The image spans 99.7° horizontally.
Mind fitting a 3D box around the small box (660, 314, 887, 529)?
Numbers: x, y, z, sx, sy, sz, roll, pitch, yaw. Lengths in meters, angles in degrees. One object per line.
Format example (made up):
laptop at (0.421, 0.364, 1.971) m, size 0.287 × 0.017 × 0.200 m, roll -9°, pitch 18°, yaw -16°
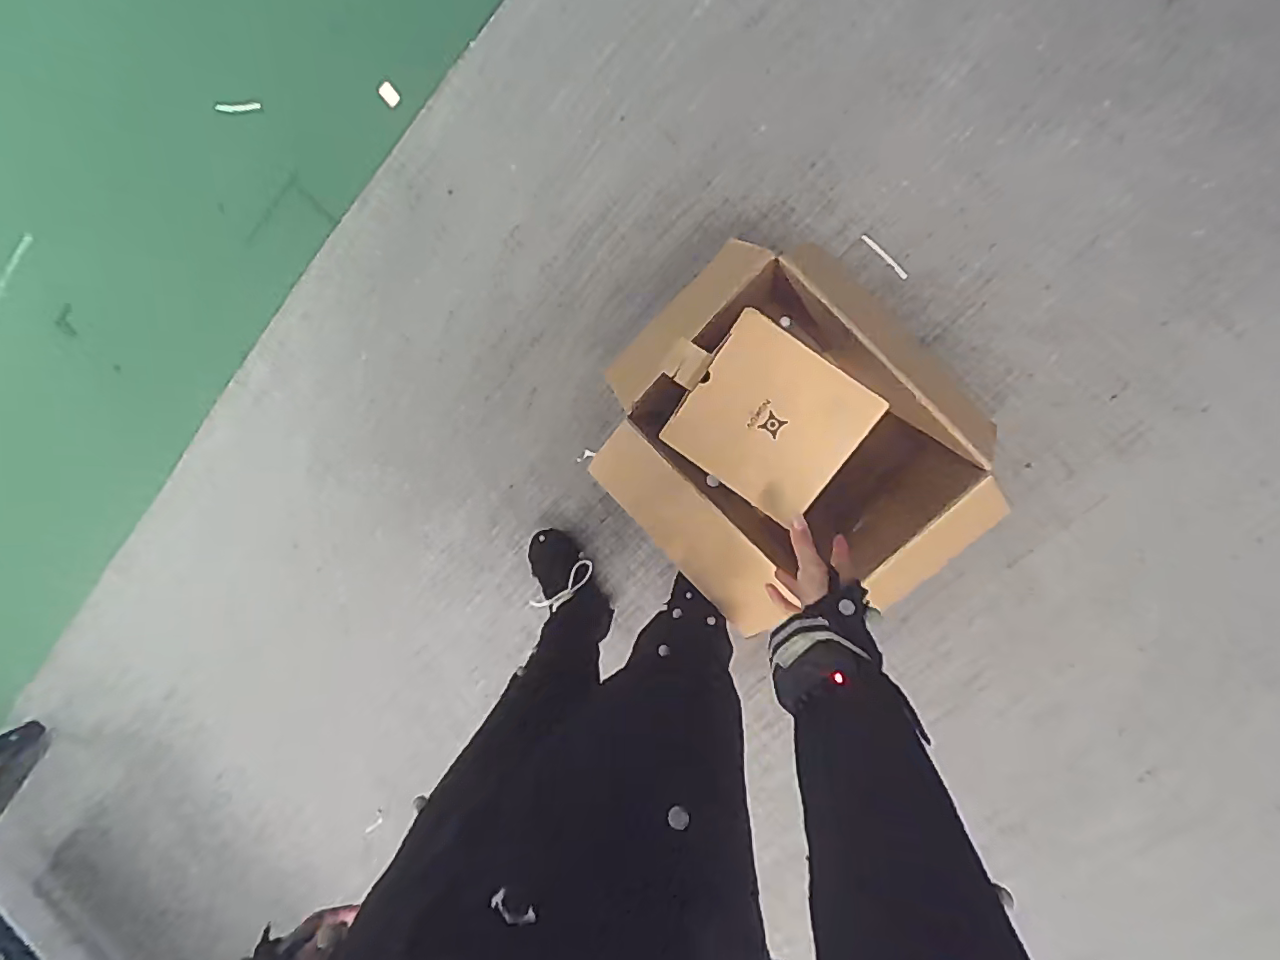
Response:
small box at (0.151, -0.073, 0.643) m, size 0.179 × 0.176 × 0.168 m, roll 36°, pitch 105°, yaw 3°
